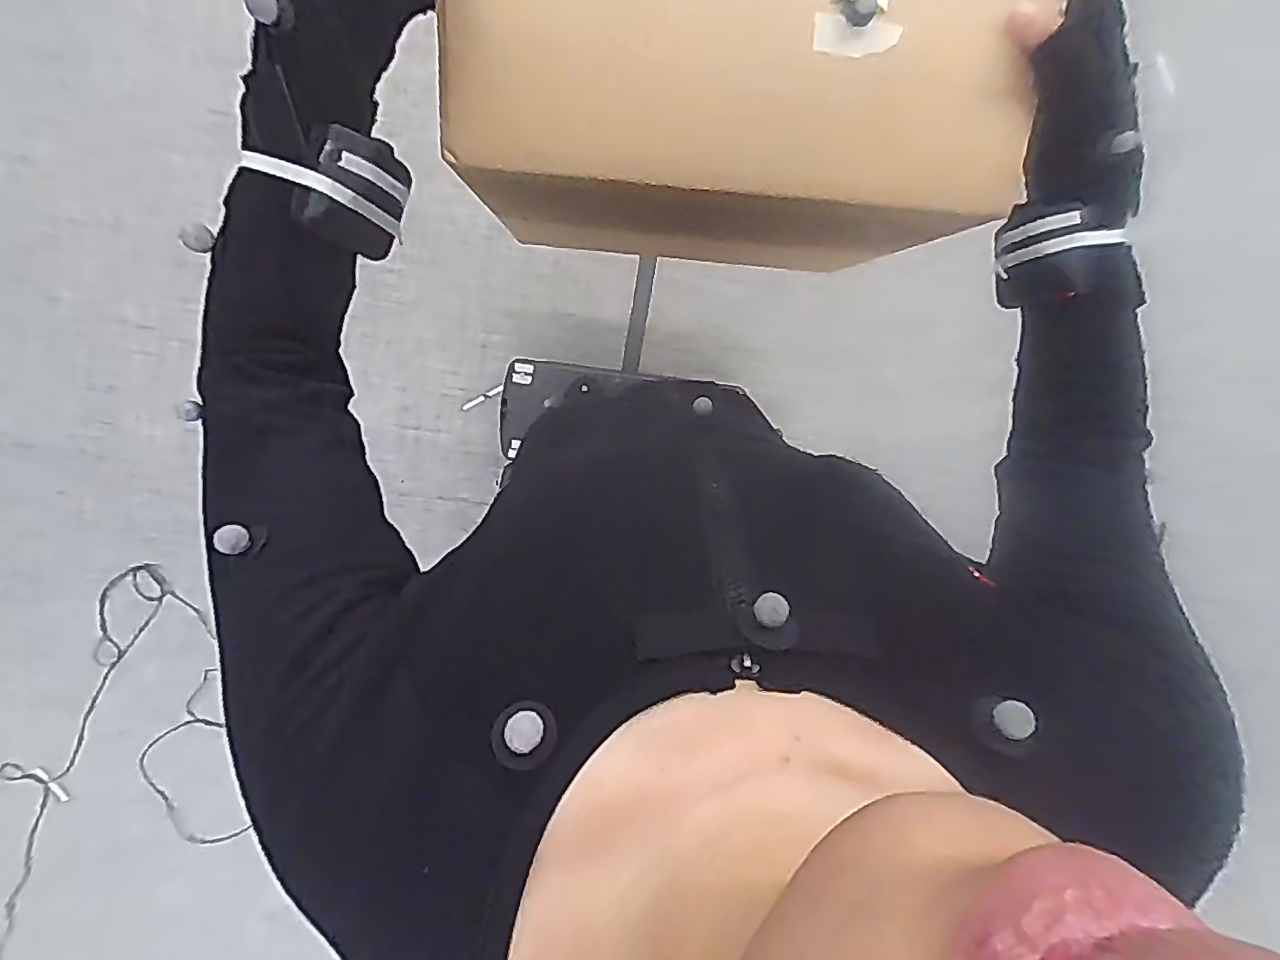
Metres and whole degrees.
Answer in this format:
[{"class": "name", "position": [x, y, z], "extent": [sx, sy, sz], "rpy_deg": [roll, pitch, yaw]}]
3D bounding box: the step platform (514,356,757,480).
[{"class": "step platform", "position": [-0.015, -0.176, 1.553], "extent": [0.684, 0.204, 0.286], "rpy_deg": [6, 99, -5]}]

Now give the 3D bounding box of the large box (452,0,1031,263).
[{"class": "large box", "position": [0.065, -0.398, 0.500], "extent": [0.408, 0.320, 0.320], "rpy_deg": [3, 104, -5]}]
